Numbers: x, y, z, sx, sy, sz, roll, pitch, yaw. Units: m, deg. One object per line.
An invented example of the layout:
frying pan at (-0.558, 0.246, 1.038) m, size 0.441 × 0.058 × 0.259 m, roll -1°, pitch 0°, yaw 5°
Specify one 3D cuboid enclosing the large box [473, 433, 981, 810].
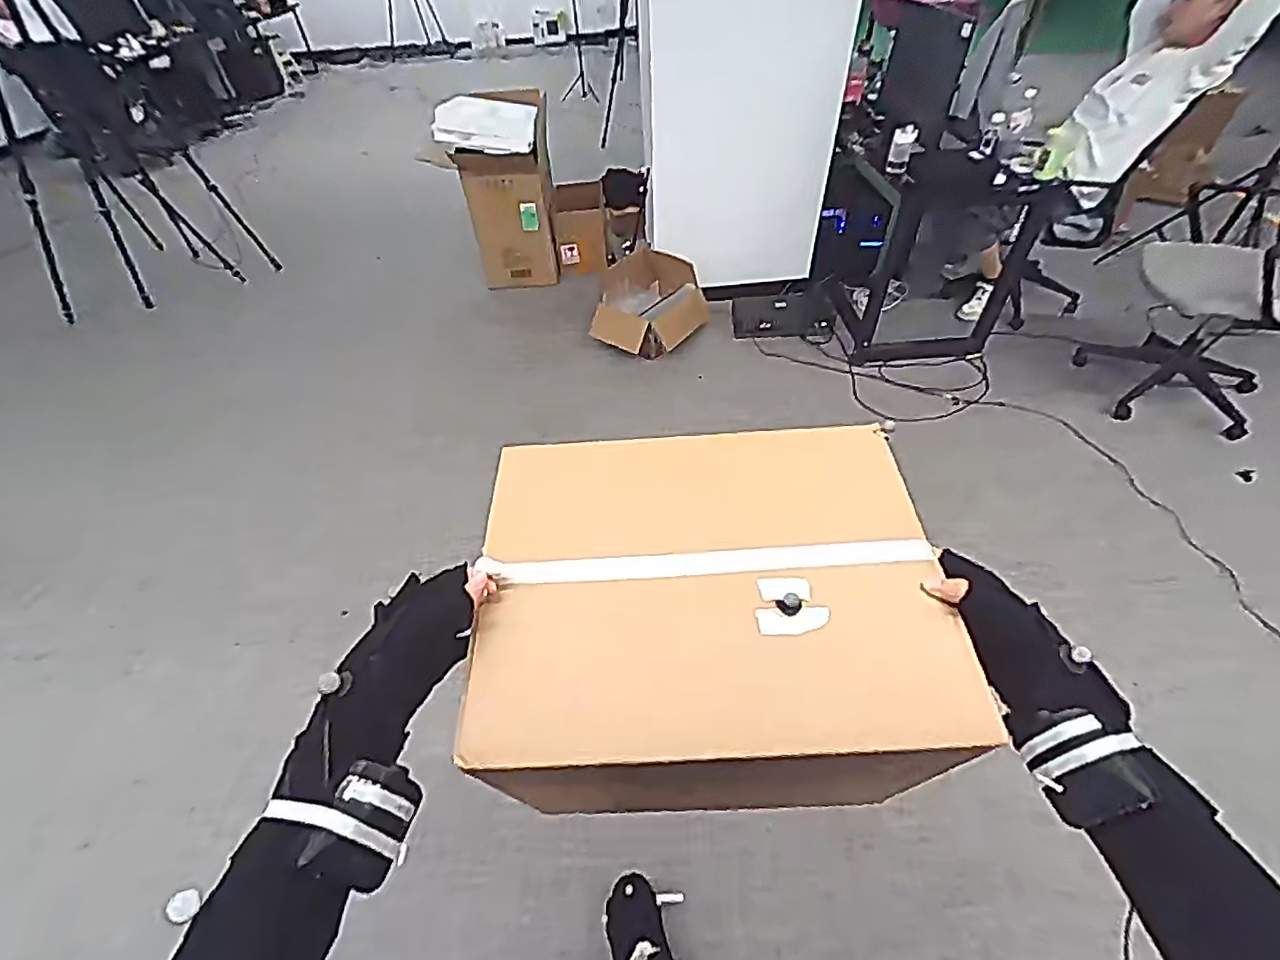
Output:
large box at (0.066, 0.172, 0.622) m, size 0.408 × 0.320 × 0.320 m, roll -3°, pitch 53°, yaw 1°
